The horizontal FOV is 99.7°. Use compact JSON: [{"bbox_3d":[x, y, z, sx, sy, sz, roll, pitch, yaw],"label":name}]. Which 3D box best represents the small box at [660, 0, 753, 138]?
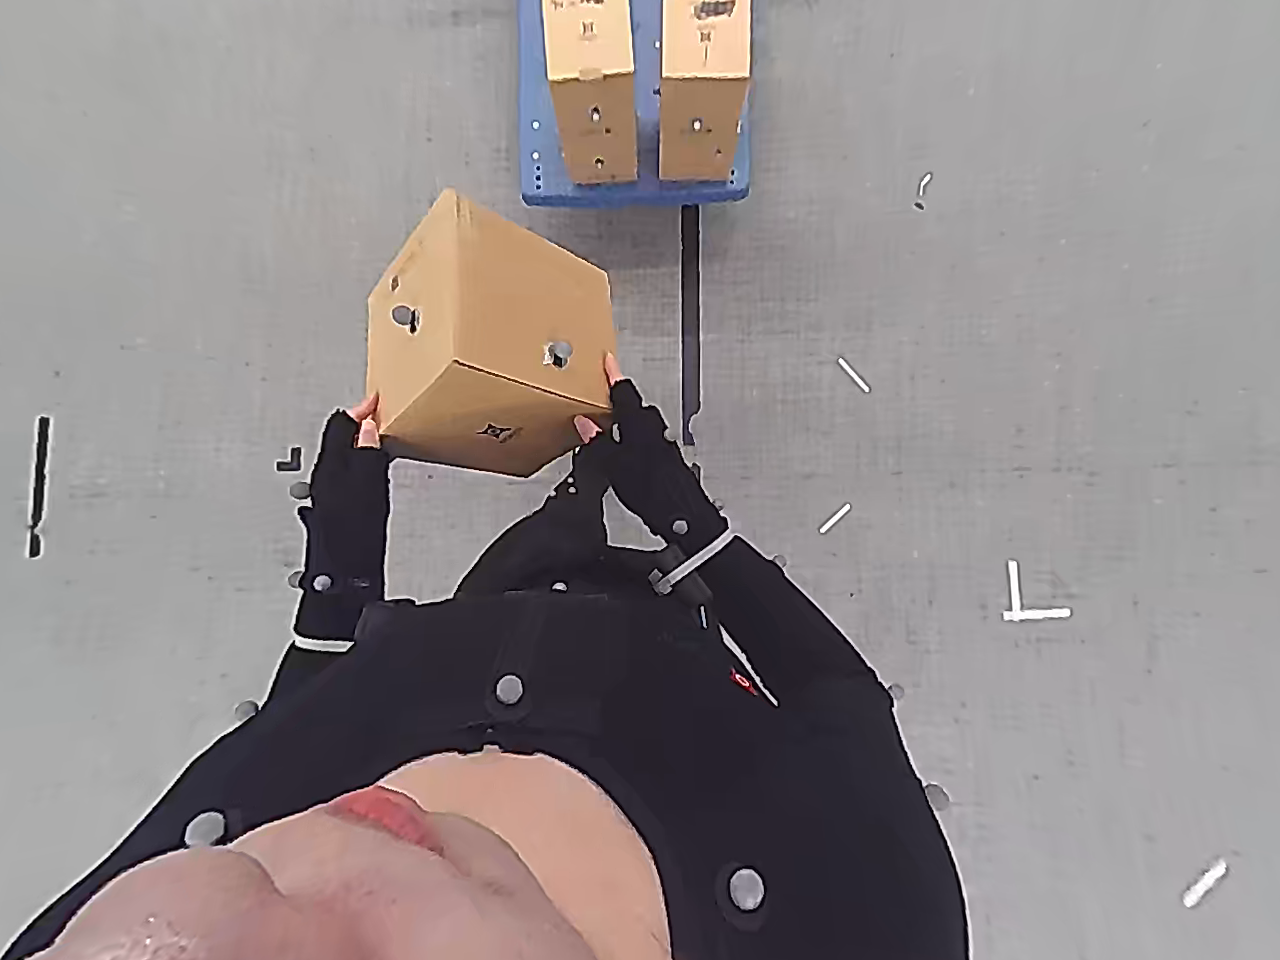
[{"bbox_3d":[0.127,-0.830,1.087,0.168,0.176,0.179,1,88,1],"label":"small box"}]

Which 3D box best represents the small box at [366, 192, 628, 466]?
[{"bbox_3d":[-0.139,-0.132,0.513,0.168,0.179,0.176,-25,66,39],"label":"small box"}]

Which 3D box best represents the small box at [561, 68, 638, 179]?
[{"bbox_3d":[-0.090,-0.827,1.257,0.168,0.176,0.179,-2,87,0],"label":"small box"}]

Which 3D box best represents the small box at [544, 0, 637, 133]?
[{"bbox_3d":[-0.094,-0.834,1.092,0.168,0.176,0.179,-4,88,1],"label":"small box"}]
